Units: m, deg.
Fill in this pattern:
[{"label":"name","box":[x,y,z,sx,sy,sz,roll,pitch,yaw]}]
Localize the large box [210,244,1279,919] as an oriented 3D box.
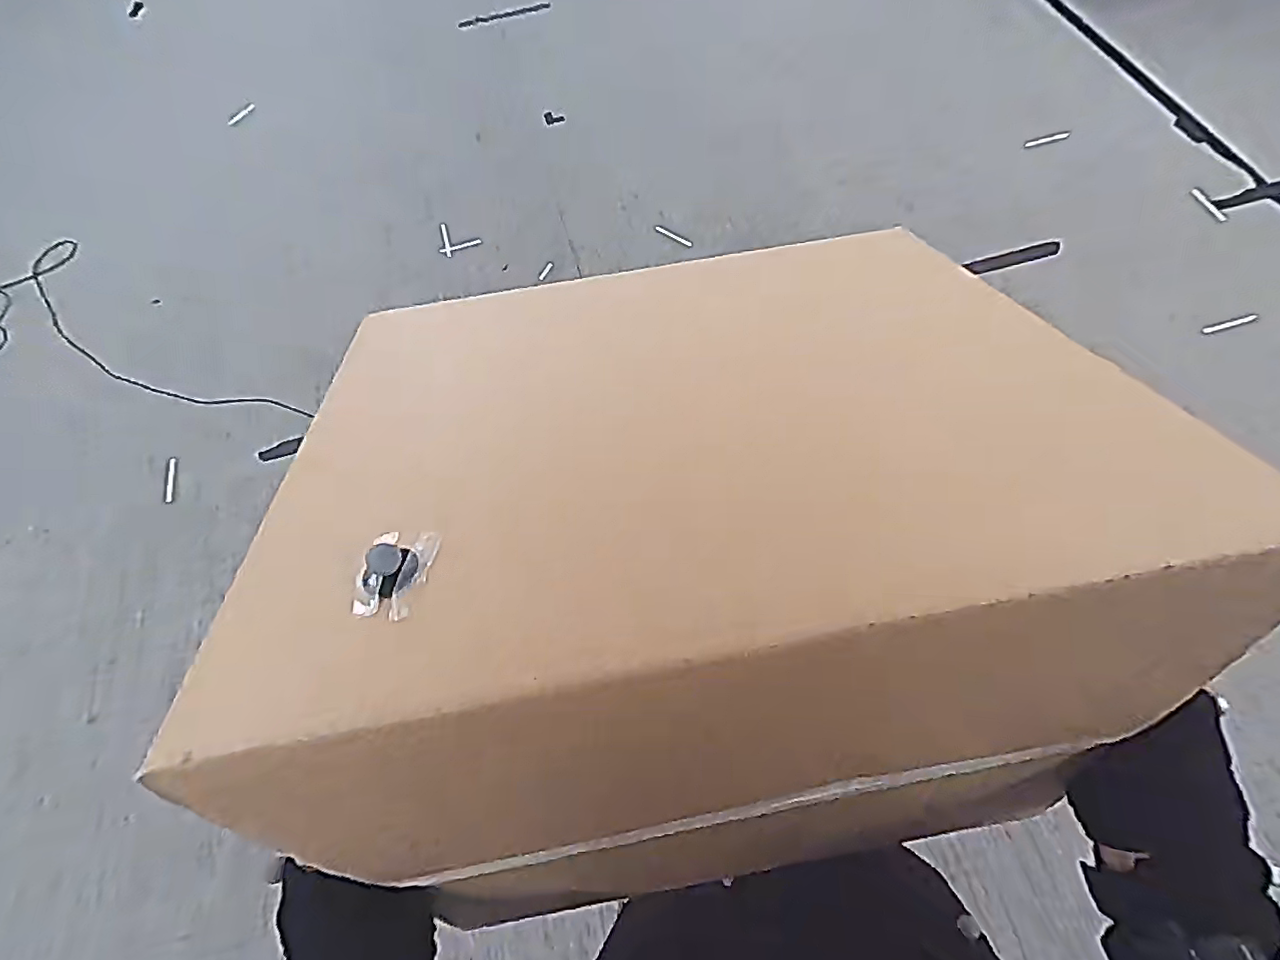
[{"label":"large box","box":[0.041,0.062,0.395,0.408,0.320,0.320,-11,43,-2]}]
